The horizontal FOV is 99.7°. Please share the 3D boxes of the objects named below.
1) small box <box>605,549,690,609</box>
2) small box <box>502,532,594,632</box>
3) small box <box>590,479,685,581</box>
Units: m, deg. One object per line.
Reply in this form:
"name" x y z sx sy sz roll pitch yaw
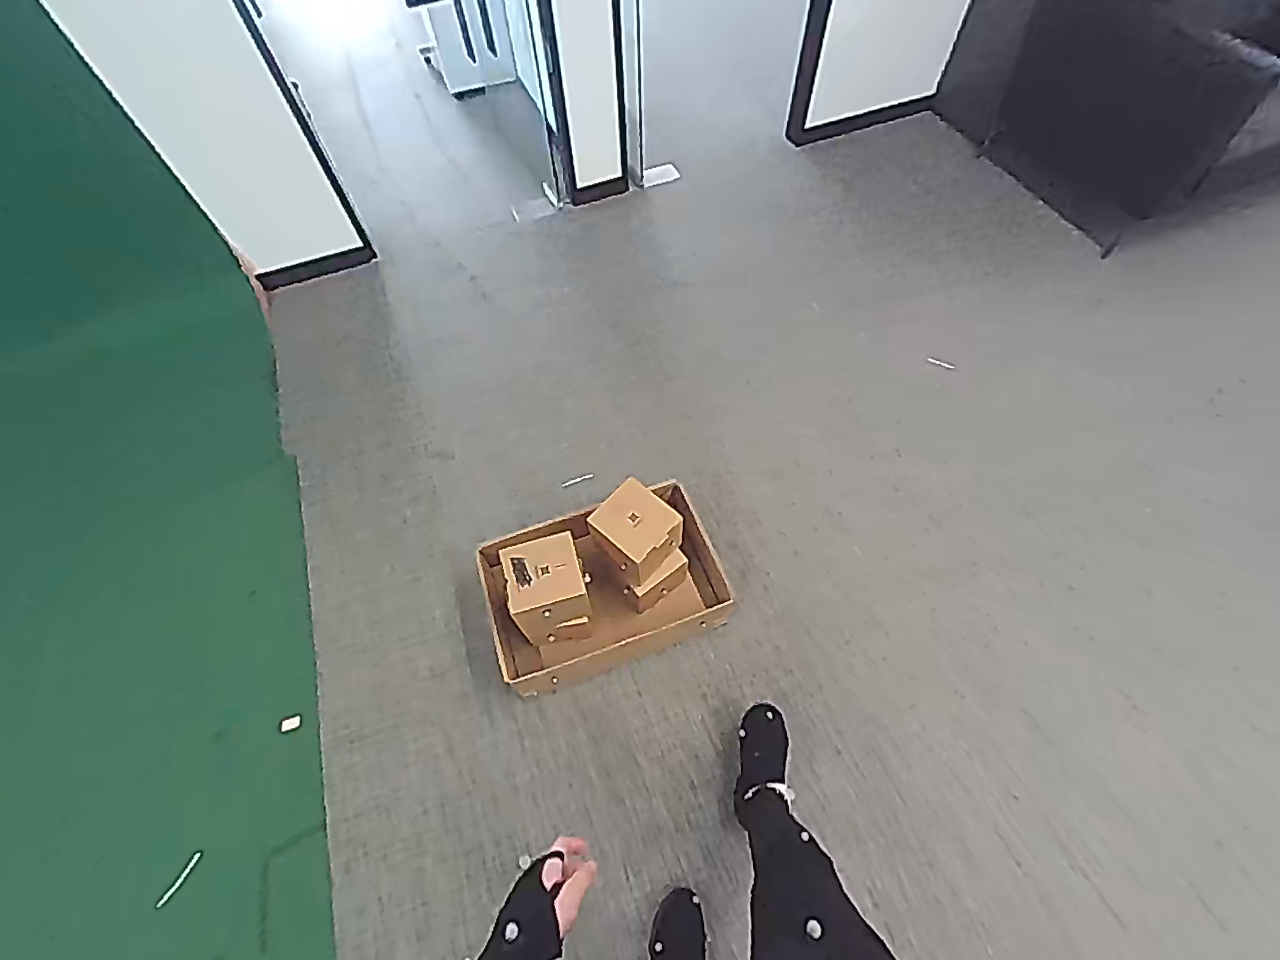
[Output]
"small box" 0.021 0.239 1.502 0.168 0.176 0.179 -34 64 -16
"small box" -0.219 0.254 1.313 0.179 0.176 0.168 -14 60 -8
"small box" -0.003 0.135 1.375 0.179 0.176 0.168 39 68 22
